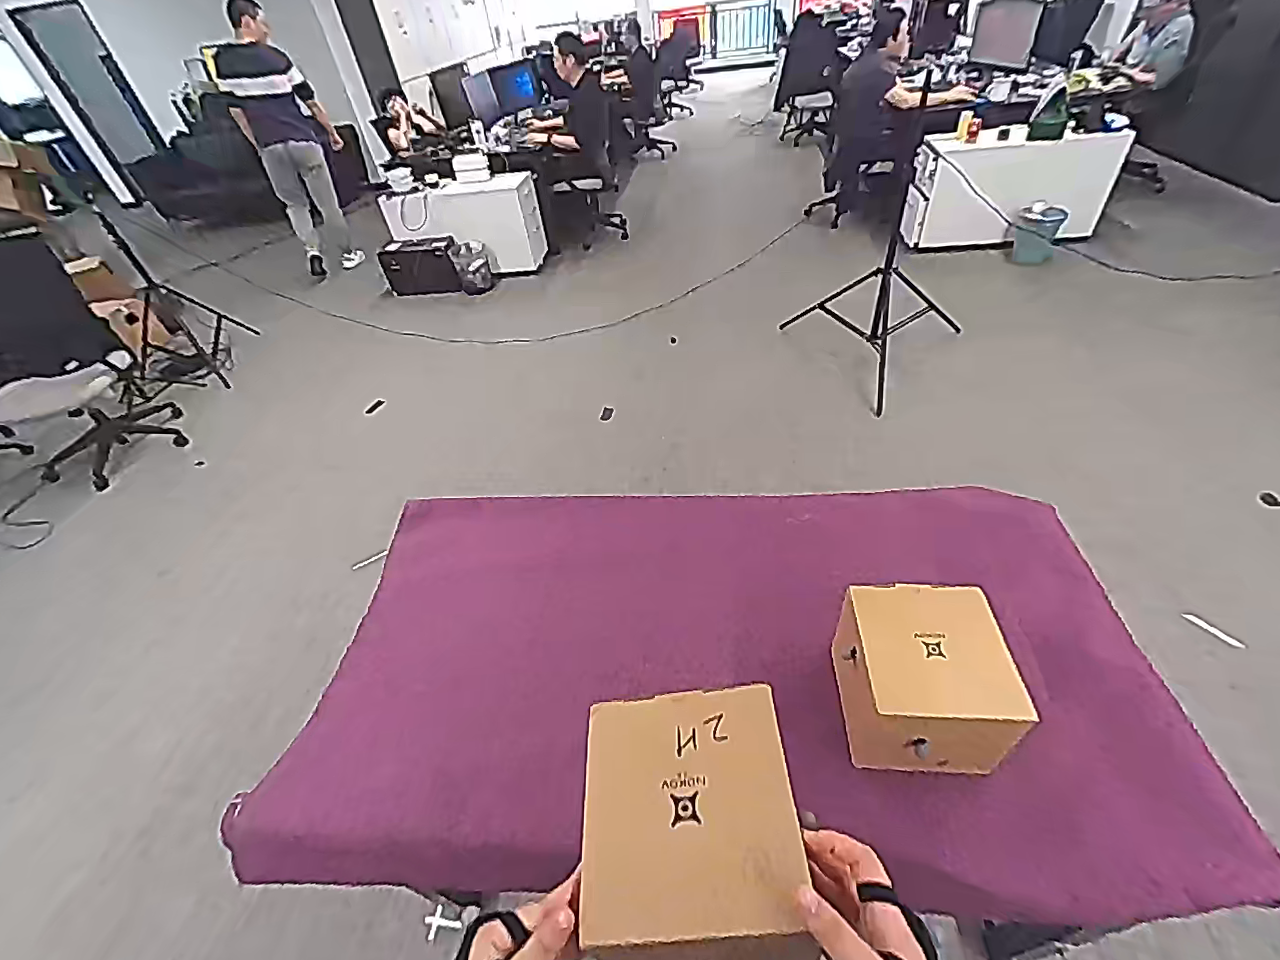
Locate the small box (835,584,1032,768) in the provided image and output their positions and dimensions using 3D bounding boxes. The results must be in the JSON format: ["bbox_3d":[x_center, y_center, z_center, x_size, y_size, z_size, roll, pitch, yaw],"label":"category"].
[{"bbox_3d":[0.360,0.256,0.705,0.168,0.176,0.179,-1,42,8],"label":"small box"}]

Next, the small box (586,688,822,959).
[{"bbox_3d":[0.057,0.313,0.475,0.168,0.176,0.179,-9,38,6],"label":"small box"}]
